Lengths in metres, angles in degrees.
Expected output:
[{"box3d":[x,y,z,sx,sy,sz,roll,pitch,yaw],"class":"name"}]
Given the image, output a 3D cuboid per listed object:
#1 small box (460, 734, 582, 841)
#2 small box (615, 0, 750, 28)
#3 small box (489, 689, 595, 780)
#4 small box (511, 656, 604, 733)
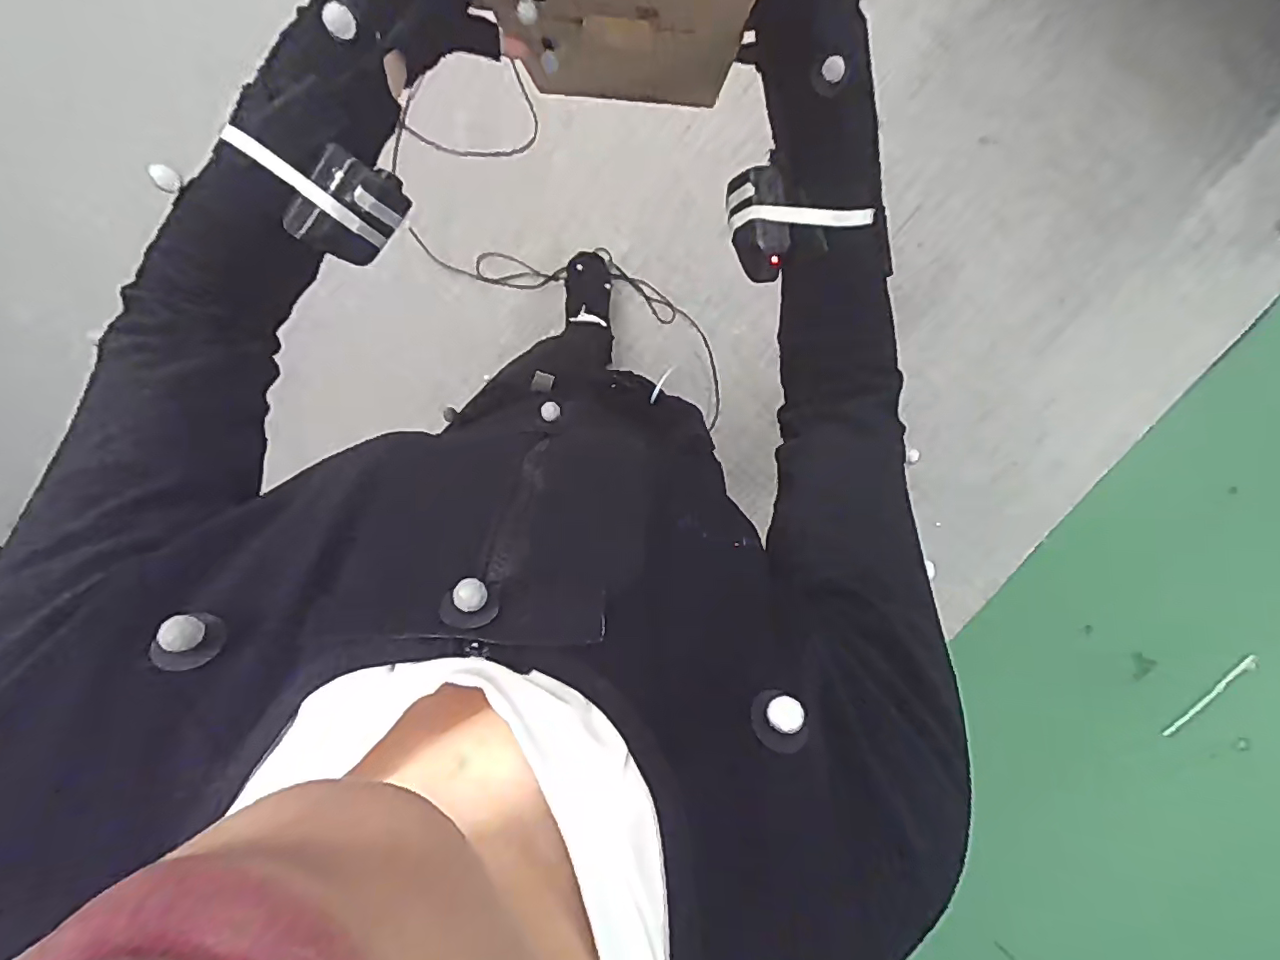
[{"box3d":[-0.237,0.678,1.132,0.168,0.176,0.179,35,101,-2],"class":"small box"},{"box3d":[-0.002,-0.340,0.233,0.168,0.176,0.179,7,112,-5],"class":"small box"},{"box3d":[-0.224,0.644,1.292,0.168,0.176,0.179,36,100,-2],"class":"small box"},{"box3d":[-0.212,0.614,1.451,0.168,0.176,0.179,38,100,-3],"class":"small box"}]
